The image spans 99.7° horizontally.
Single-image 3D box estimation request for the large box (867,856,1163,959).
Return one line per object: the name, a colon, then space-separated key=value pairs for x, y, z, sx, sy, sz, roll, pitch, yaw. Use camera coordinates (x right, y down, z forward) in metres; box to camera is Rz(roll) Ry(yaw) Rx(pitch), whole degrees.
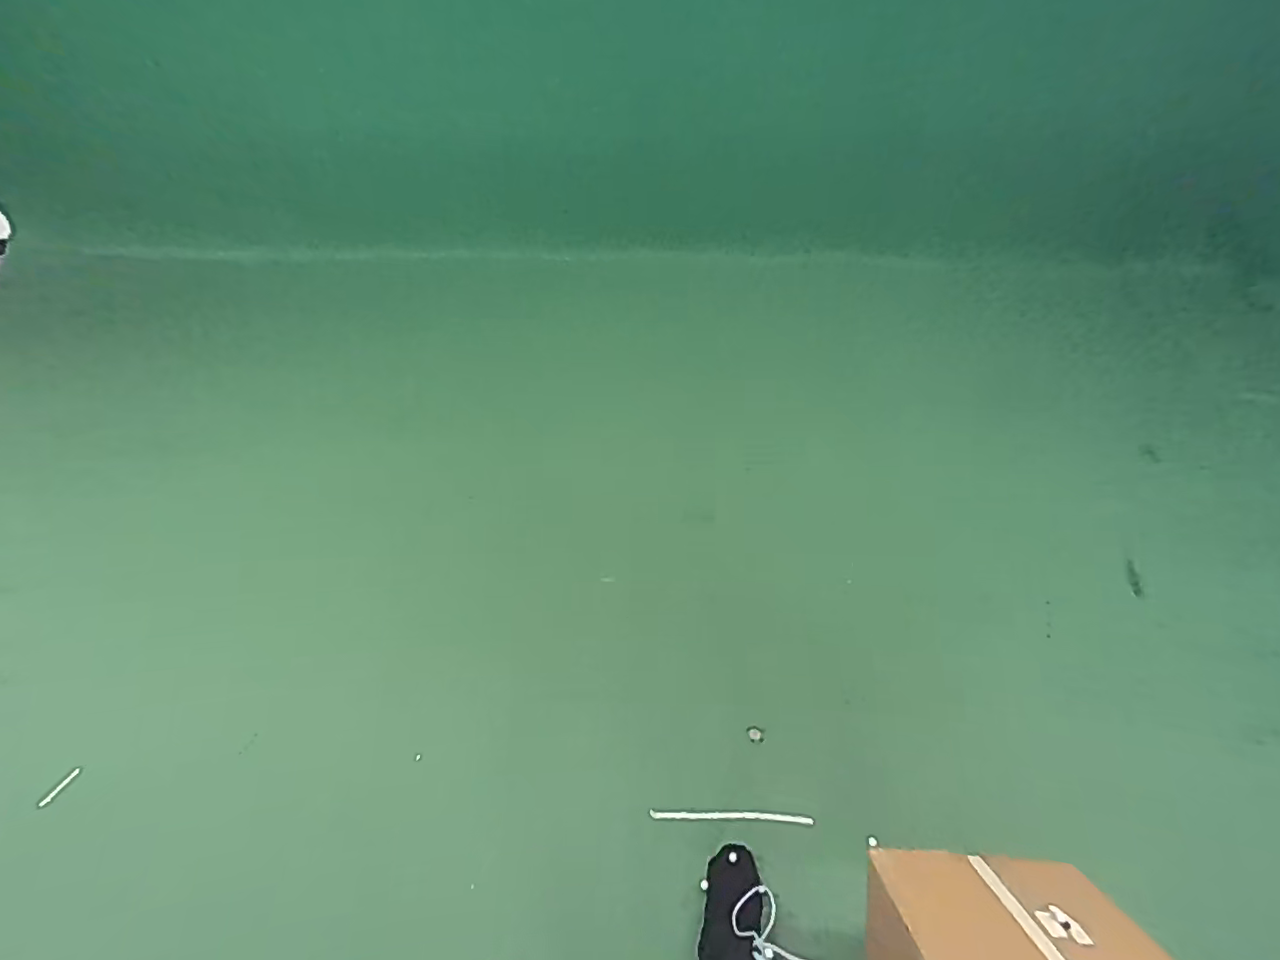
large box: x=0.497 y=0.744 z=0.645 sx=0.320 sy=0.408 sz=0.320 roll=3 pitch=89 yaw=4
